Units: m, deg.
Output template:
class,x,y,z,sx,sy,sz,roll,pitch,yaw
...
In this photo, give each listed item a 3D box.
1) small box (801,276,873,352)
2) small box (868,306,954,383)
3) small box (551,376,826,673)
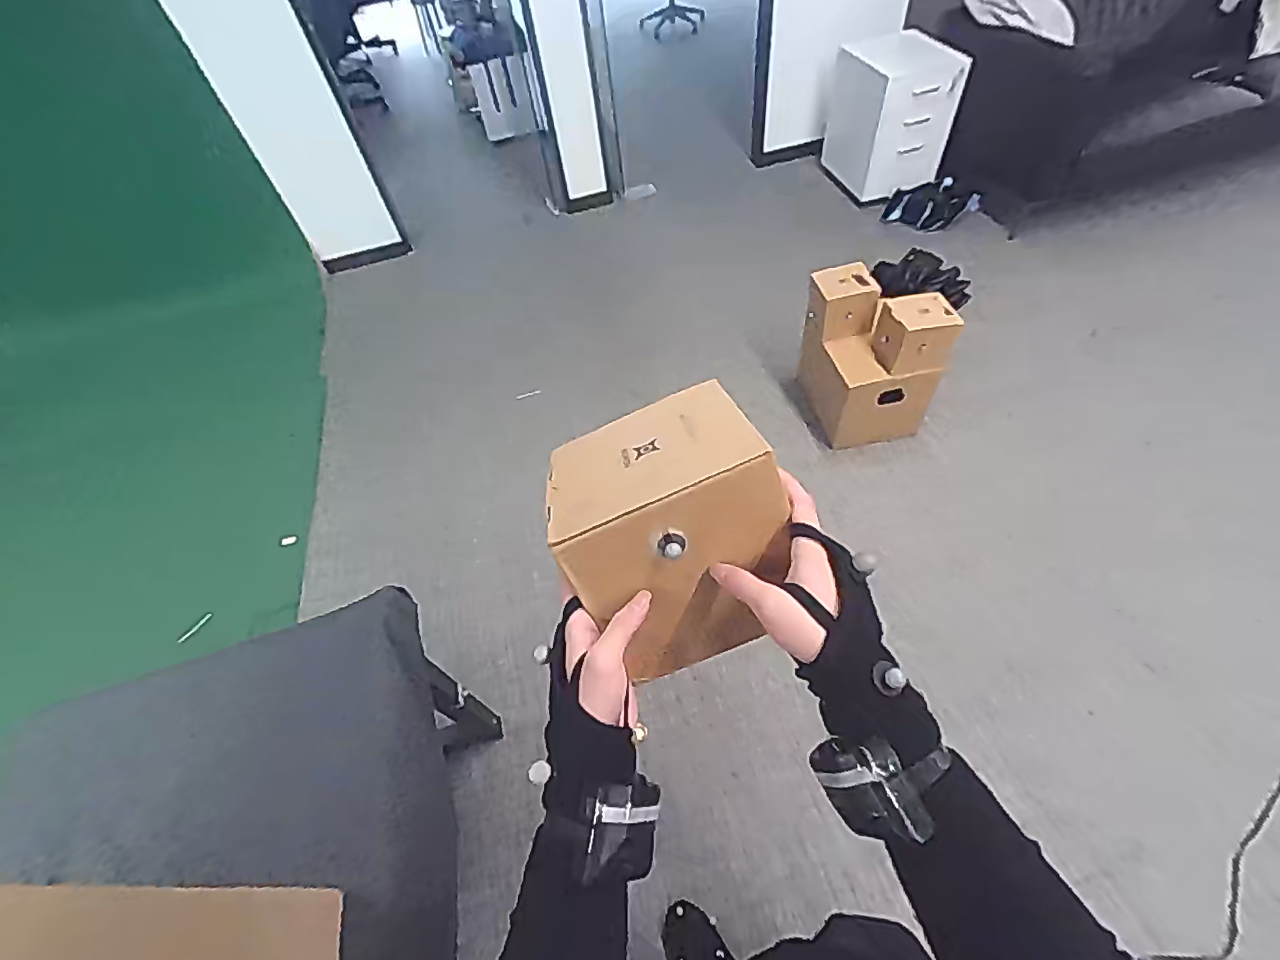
class,x,y,z,sx,sy,sz,roll,pitch,yaw
small box,0.662,-0.562,1.838,0.179,0.176,0.168,-11,51,1
small box,0.841,-0.422,1.706,0.179,0.176,0.168,-8,50,-2
small box,0.037,0.036,0.476,0.179,0.176,0.168,-22,28,2
